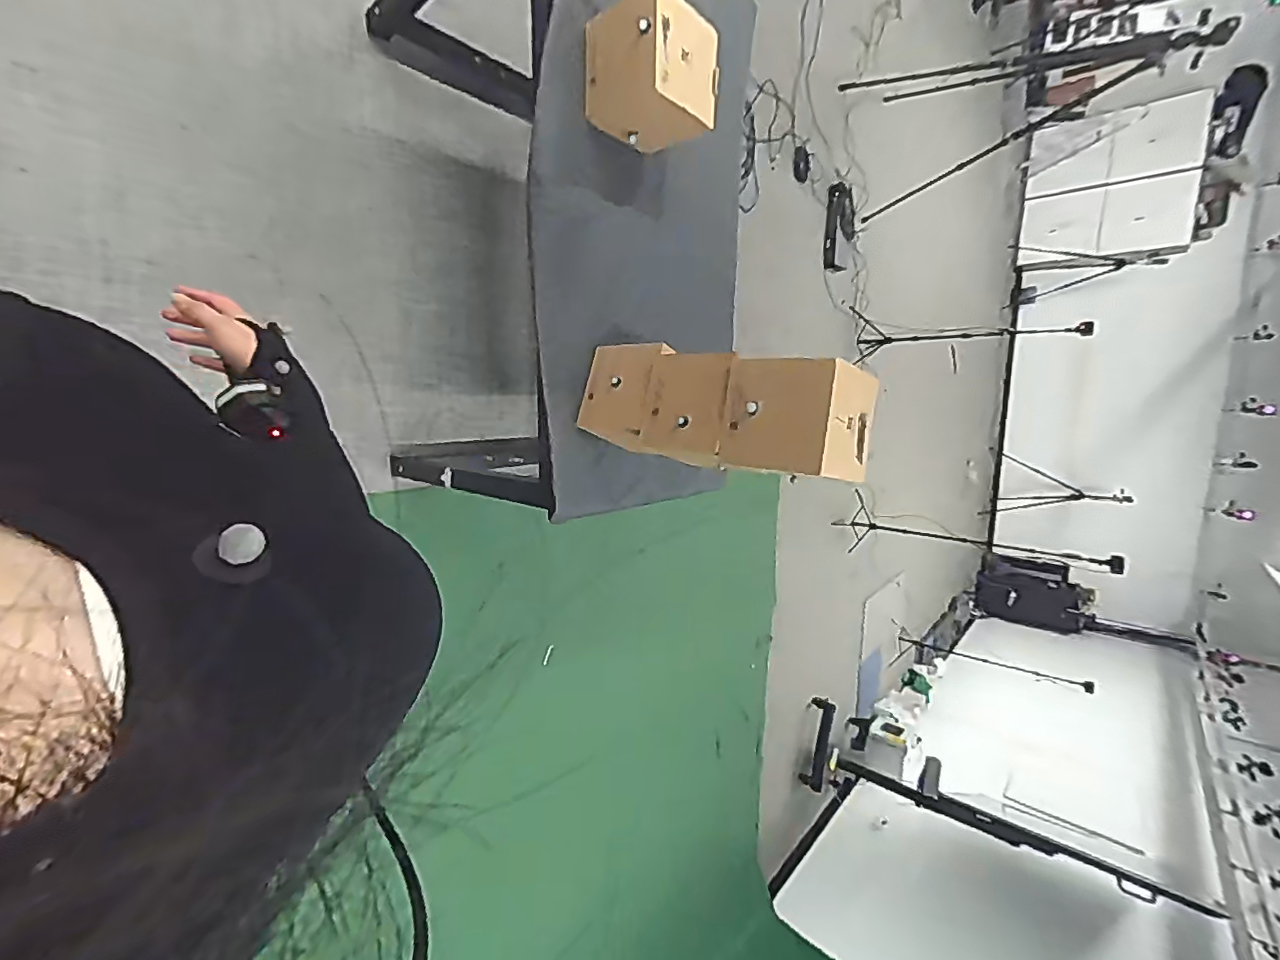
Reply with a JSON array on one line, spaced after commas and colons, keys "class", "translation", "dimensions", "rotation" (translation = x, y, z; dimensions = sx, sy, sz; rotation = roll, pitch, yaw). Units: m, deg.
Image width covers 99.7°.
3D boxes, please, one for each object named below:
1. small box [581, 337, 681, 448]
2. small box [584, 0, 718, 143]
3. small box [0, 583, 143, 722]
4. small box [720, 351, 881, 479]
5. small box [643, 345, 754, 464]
[{"class": "small box", "translation": [0.013, -0.160, 1.051], "dimensions": [0.179, 0.176, 0.168], "rotation": [22, 80, -50]}, {"class": "small box", "translation": [0.021, -0.737, 0.972], "dimensions": [0.179, 0.176, 0.168], "rotation": [-9, 103, -49]}, {"class": "small box", "translation": [-1.090, 0.309, 1.002], "dimensions": [0.168, 0.176, 0.179], "rotation": [-55, 133, -25]}, {"class": "small box", "translation": [0.247, -0.097, 0.831], "dimensions": [0.179, 0.176, 0.168], "rotation": [5, 93, -49]}, {"class": "small box", "translation": [0.127, -0.124, 0.941], "dimensions": [0.179, 0.176, 0.168], "rotation": [14, 86, -51]}]
